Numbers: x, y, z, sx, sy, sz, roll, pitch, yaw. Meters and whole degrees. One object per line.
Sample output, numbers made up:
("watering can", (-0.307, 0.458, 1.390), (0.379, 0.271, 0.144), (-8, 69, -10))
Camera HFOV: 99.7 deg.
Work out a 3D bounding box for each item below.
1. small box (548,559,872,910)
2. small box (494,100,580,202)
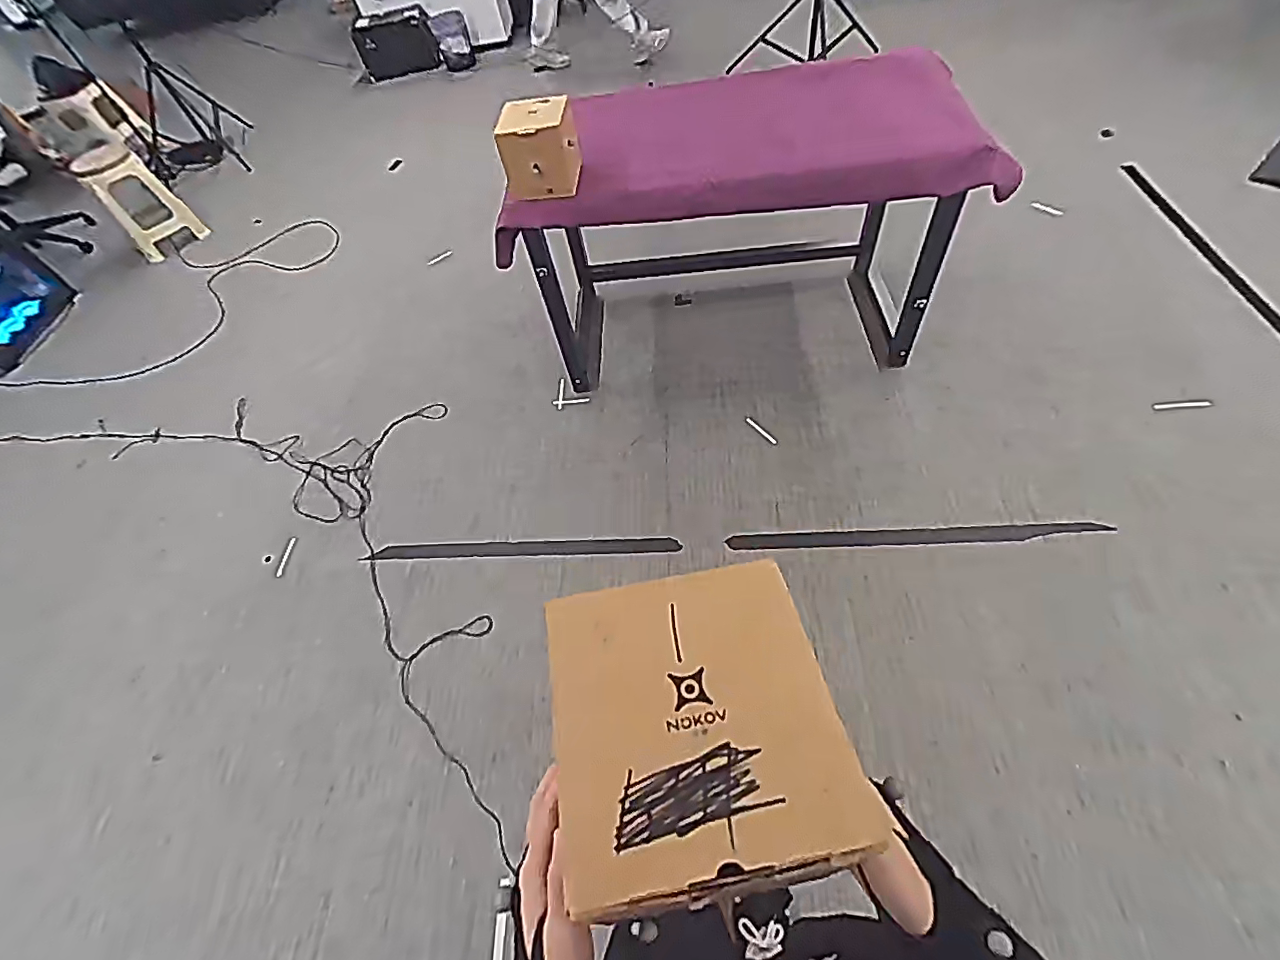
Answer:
("small box", (0.035, 0.185, 0.387), (0.168, 0.176, 0.179), (-10, 49, -3))
("small box", (-0.257, -0.840, 1.396), (0.168, 0.176, 0.179), (-2, 56, 7))
